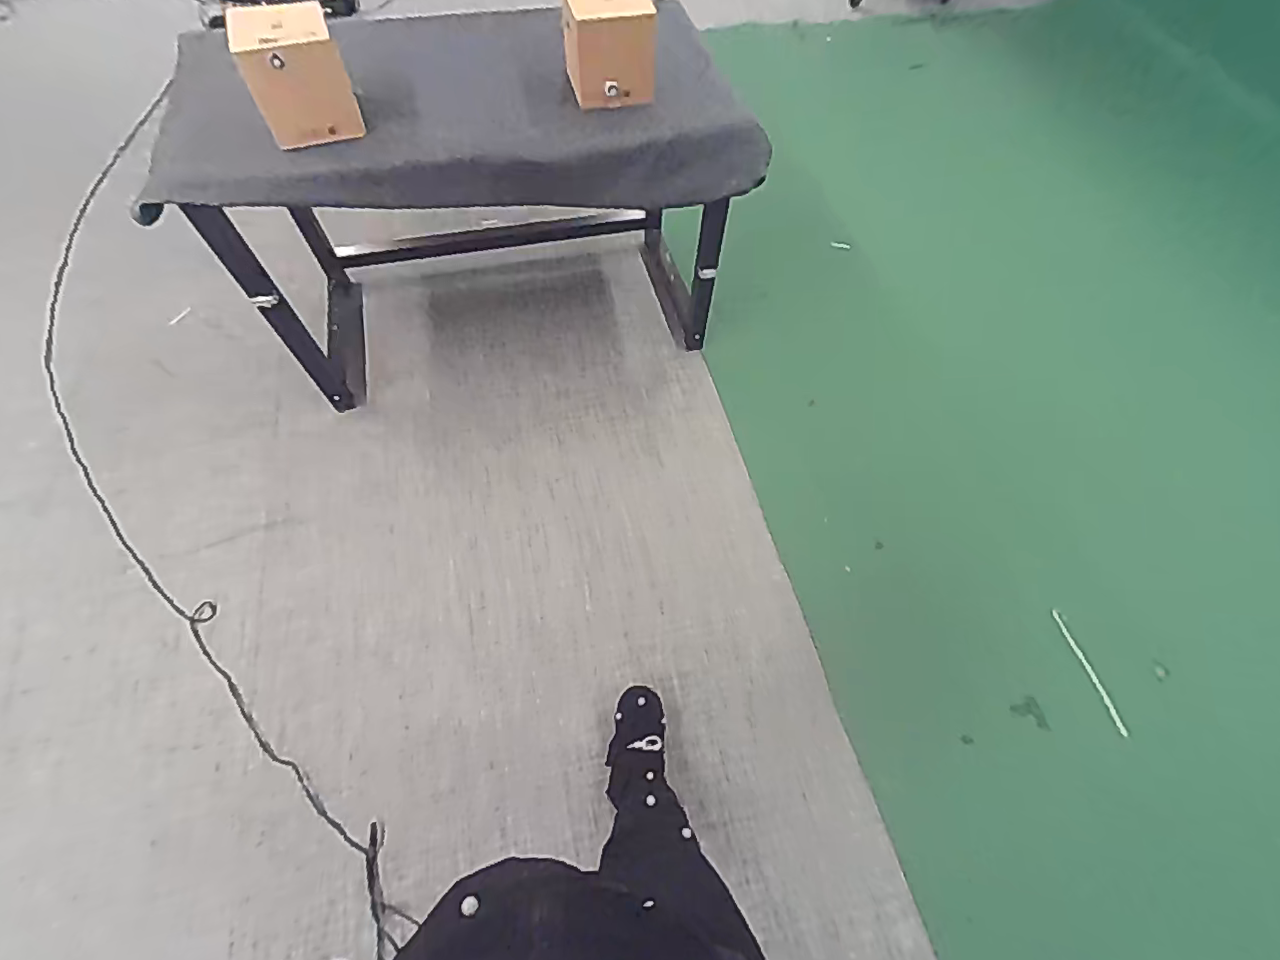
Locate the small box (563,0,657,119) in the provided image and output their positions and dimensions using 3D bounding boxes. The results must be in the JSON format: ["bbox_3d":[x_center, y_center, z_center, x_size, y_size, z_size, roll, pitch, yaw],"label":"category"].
[{"bbox_3d":[-0.067,-0.921,1.172,0.168,0.176,0.179,-12,63,-7],"label":"small box"}]

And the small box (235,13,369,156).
[{"bbox_3d":[-0.657,-0.773,1.062,0.168,0.176,0.179,-20,61,-12],"label":"small box"}]
